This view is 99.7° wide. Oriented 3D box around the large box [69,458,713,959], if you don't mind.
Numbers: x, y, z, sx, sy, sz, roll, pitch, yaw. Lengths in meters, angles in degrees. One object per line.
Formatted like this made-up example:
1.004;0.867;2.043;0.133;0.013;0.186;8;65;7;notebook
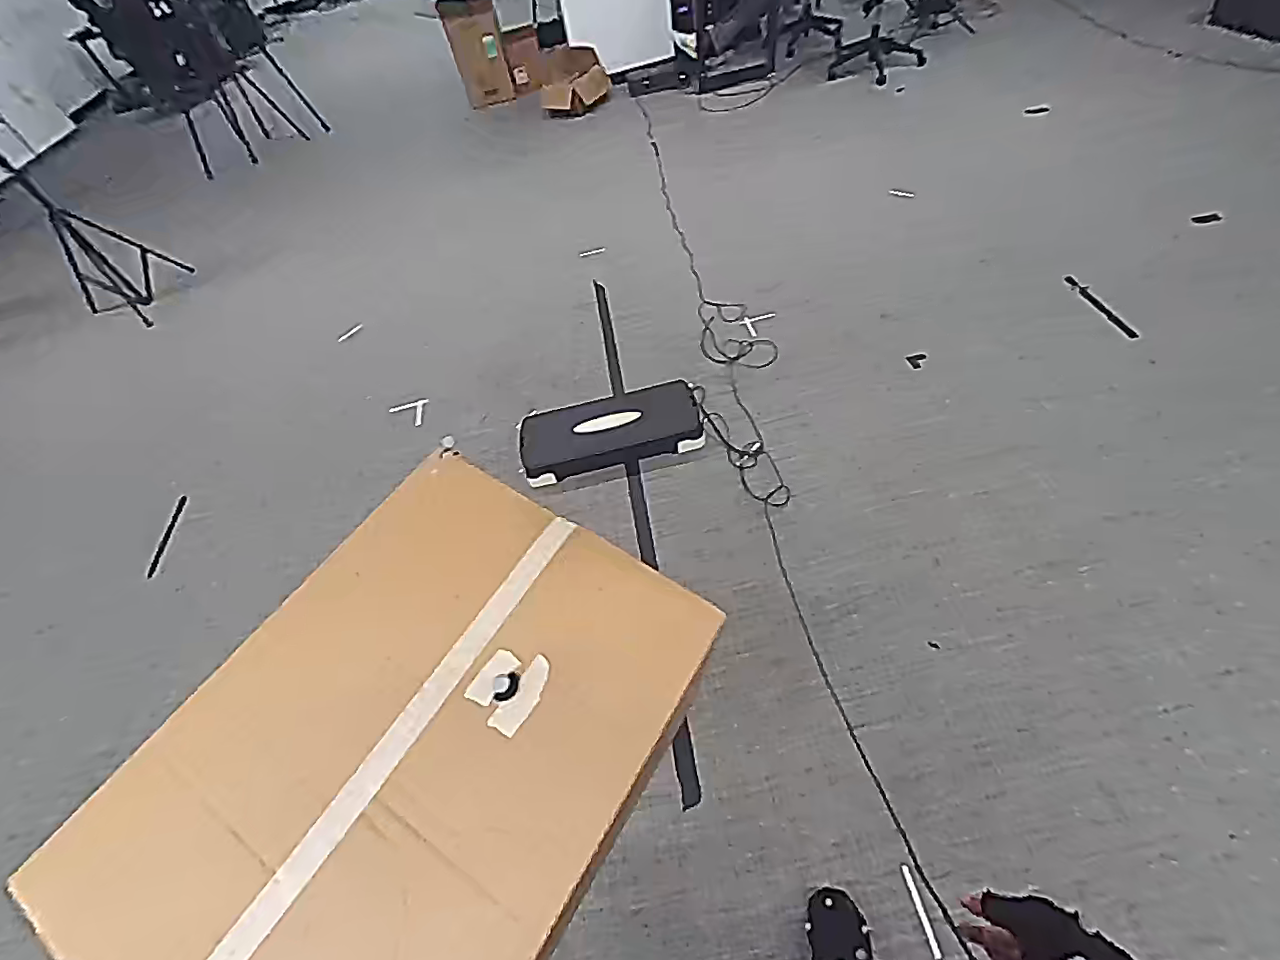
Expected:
-0.162;0.265;0.537;0.320;0.320;0.408;27;62;17;large box
